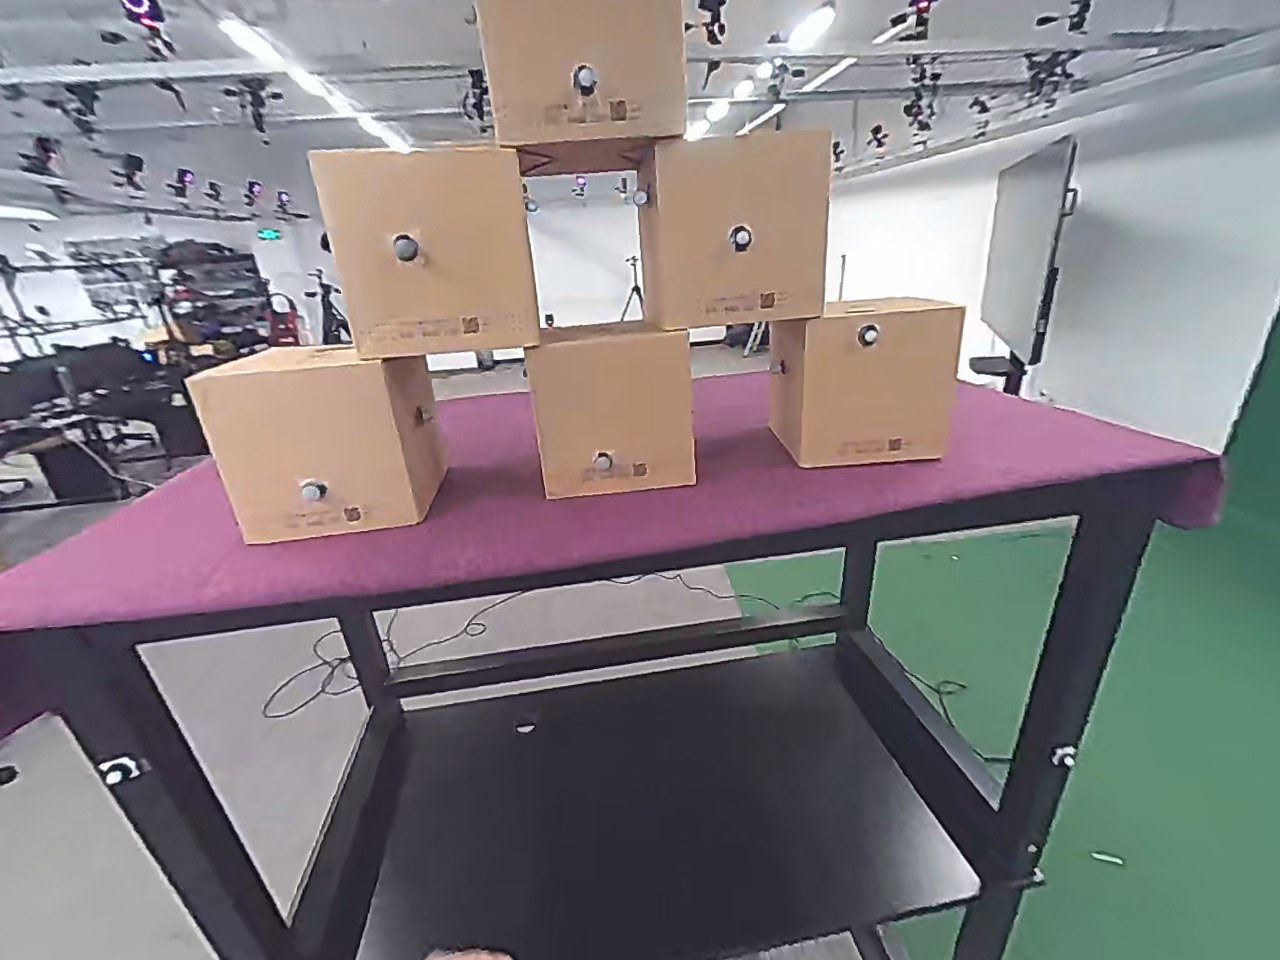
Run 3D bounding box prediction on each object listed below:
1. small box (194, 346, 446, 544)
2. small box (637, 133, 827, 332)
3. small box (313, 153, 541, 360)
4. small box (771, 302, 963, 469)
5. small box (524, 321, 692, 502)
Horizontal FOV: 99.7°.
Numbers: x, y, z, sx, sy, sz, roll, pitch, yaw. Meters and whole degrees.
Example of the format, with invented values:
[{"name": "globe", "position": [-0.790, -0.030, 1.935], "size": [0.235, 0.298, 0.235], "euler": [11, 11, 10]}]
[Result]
[{"name": "small box", "position": [-0.319, -0.049, 0.586], "size": [0.168, 0.176, 0.179], "euler": [-7, 23, -7]}, {"name": "small box", "position": [0.091, -0.258, 0.592], "size": [0.168, 0.176, 0.179], "euler": [-6, 22, -4]}, {"name": "small box", "position": [-0.194, -0.217, 0.550], "size": [0.168, 0.176, 0.179], "euler": [-7, 21, -9]}, {"name": "small box", "position": [0.257, -0.121, 0.660], "size": [0.168, 0.176, 0.179], "euler": [-5, 21, 2]}, {"name": "small box", "position": [-0.034, -0.087, 0.636], "size": [0.168, 0.176, 0.179], "euler": [-6, 23, -3]}]
